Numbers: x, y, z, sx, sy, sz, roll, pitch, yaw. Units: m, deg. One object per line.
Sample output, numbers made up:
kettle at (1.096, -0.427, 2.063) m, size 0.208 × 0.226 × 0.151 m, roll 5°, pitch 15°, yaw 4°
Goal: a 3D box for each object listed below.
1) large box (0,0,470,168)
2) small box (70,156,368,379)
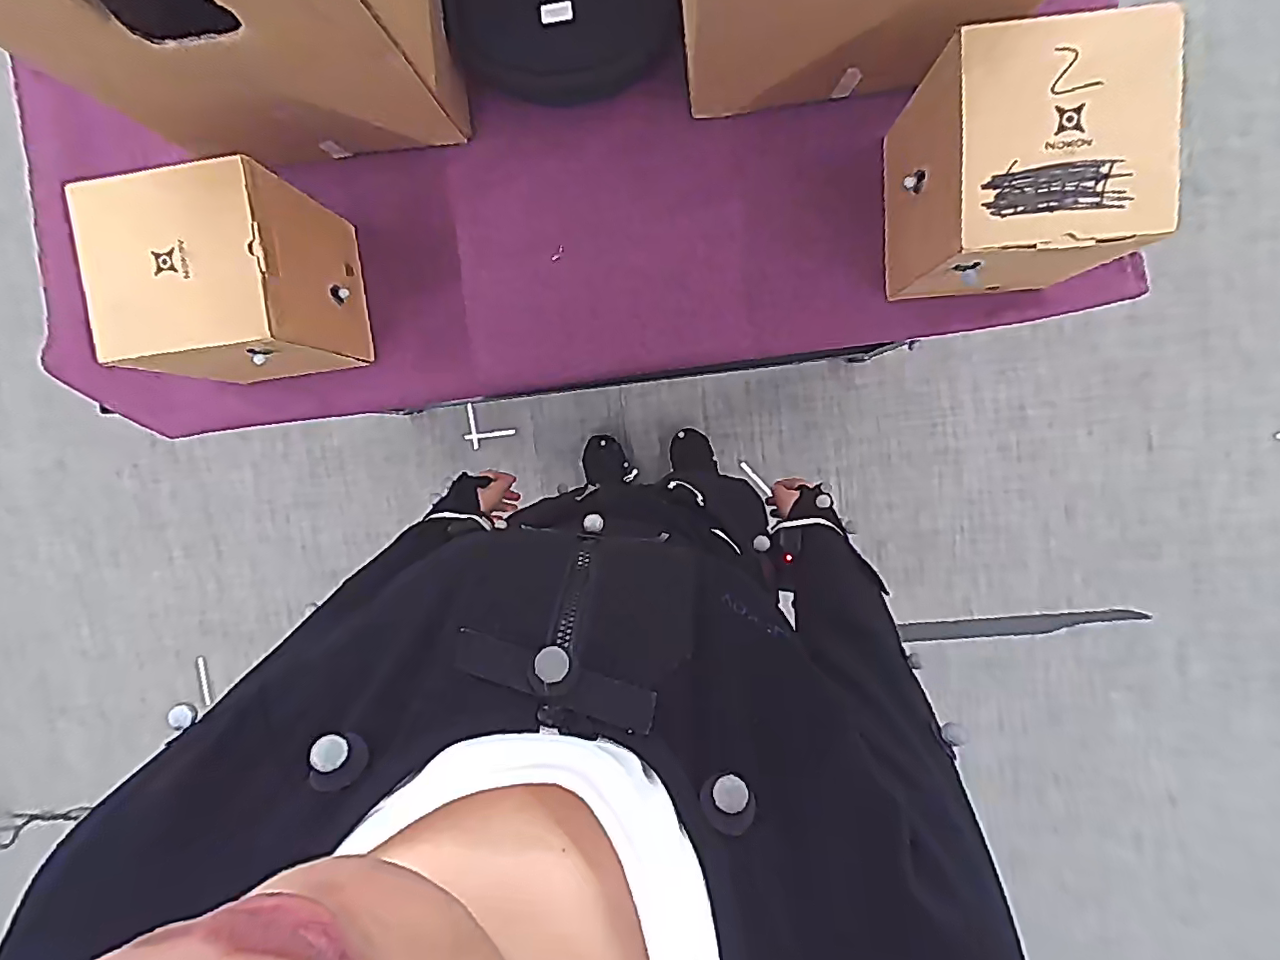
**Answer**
large box at (-0.371, -0.560, 0.472) m, size 0.320 × 0.320 × 0.408 m, roll -4°, pitch 98°, yaw 5°
small box at (-0.429, -0.208, 0.579) m, size 0.179 × 0.176 × 0.168 m, roll -7°, pitch 94°, yaw 4°
